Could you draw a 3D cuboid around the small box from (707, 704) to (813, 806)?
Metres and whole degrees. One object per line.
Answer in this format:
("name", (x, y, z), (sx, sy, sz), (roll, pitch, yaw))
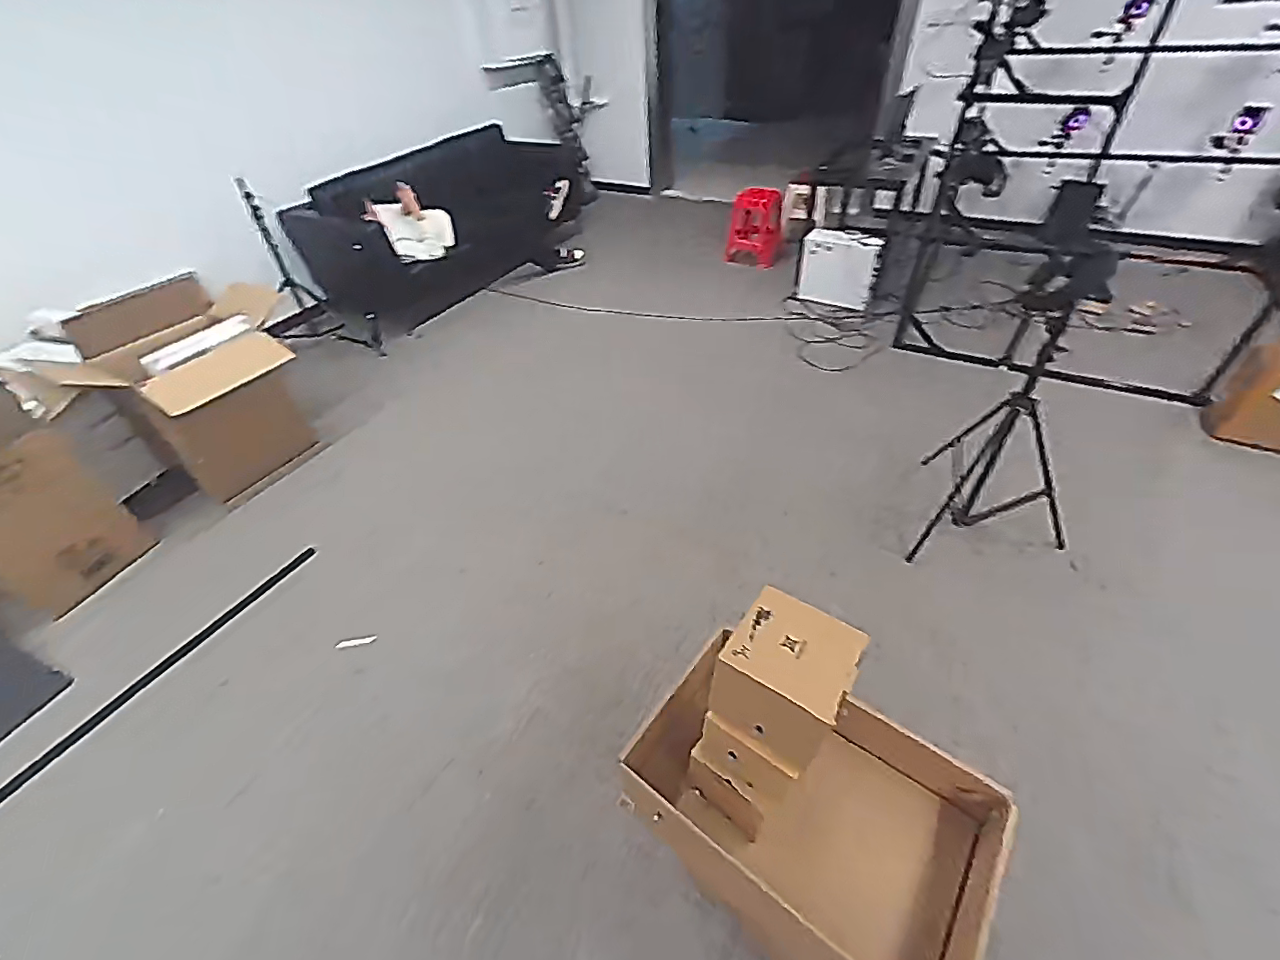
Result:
("small box", (0.231, 0.433, 0.960), (0.168, 0.176, 0.179), (27, 49, 27))

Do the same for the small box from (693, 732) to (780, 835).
("small box", (0.220, 0.554, 1.069), (0.168, 0.176, 0.179), (30, 51, 30))

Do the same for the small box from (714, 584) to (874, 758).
("small box", (0.235, 0.306, 0.855), (0.179, 0.176, 0.168), (27, 49, 26))
